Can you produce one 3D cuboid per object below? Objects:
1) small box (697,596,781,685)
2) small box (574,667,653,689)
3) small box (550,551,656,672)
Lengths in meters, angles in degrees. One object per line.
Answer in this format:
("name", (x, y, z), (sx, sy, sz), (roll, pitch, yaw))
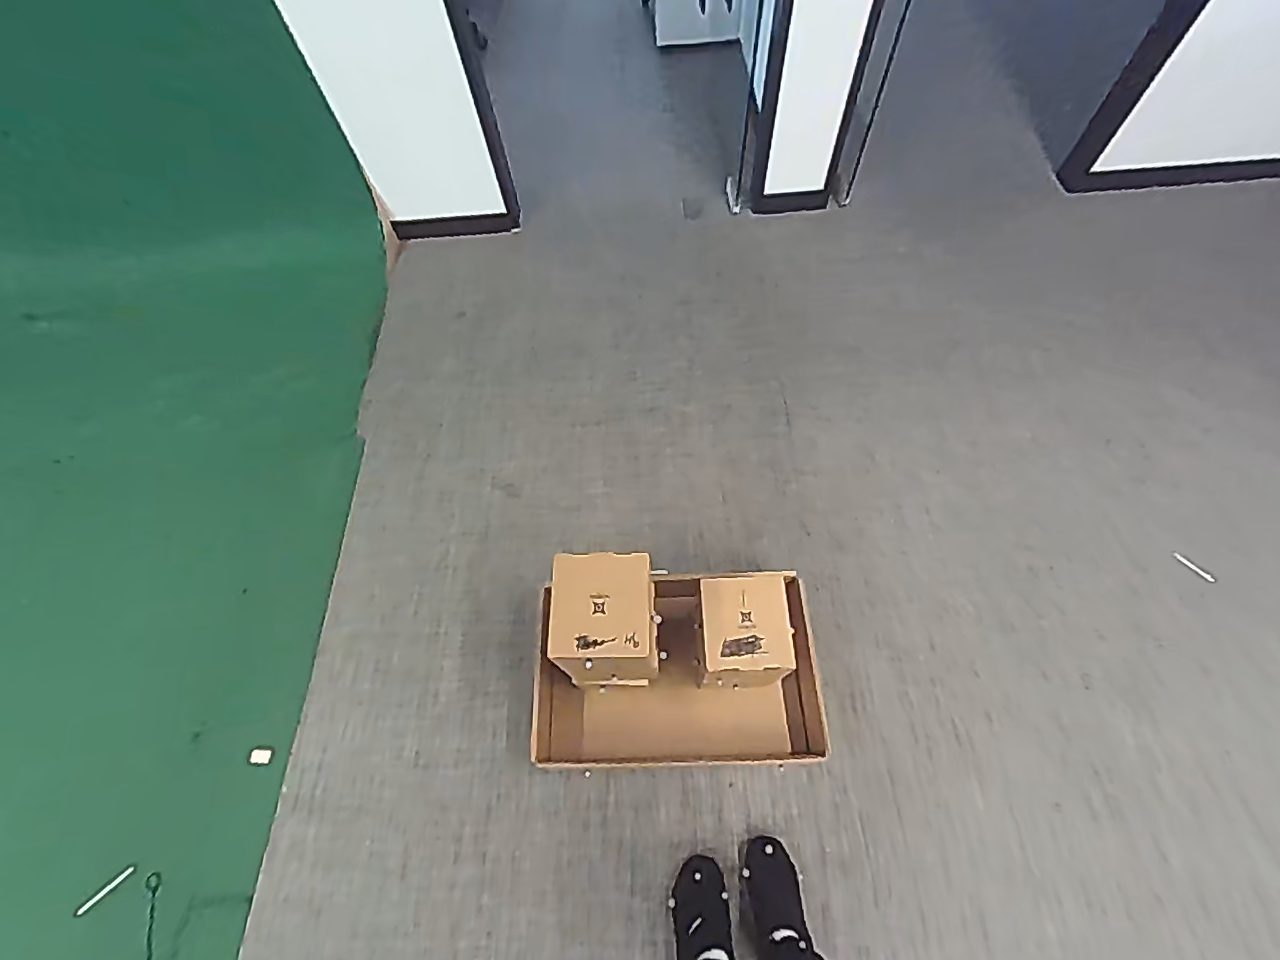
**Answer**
("small box", (0.221, 0.375, 1.247), (0.168, 0.176, 0.179), (-3, 64, 2))
("small box", (-0.052, 0.388, 1.259), (0.168, 0.176, 0.179), (1, 63, 3))
("small box", (-0.057, 0.238, 0.966), (0.168, 0.176, 0.179), (-1, 63, 3))
